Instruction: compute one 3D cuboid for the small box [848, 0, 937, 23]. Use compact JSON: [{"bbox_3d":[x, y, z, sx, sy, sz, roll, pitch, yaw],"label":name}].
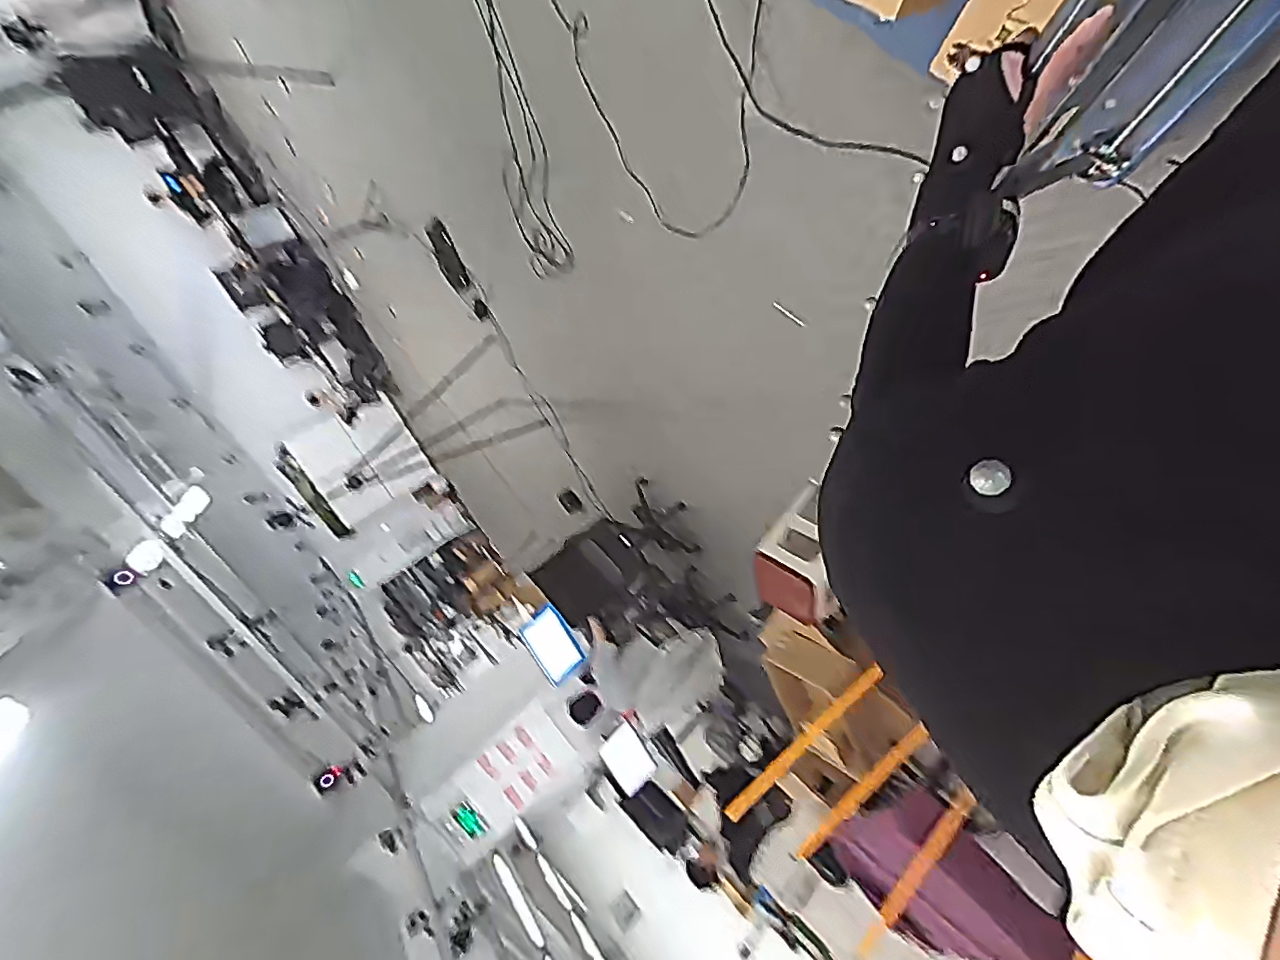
[{"bbox_3d":[0.476,-0.972,0.974,0.179,0.176,0.168,47,154,19],"label":"small box"}]
